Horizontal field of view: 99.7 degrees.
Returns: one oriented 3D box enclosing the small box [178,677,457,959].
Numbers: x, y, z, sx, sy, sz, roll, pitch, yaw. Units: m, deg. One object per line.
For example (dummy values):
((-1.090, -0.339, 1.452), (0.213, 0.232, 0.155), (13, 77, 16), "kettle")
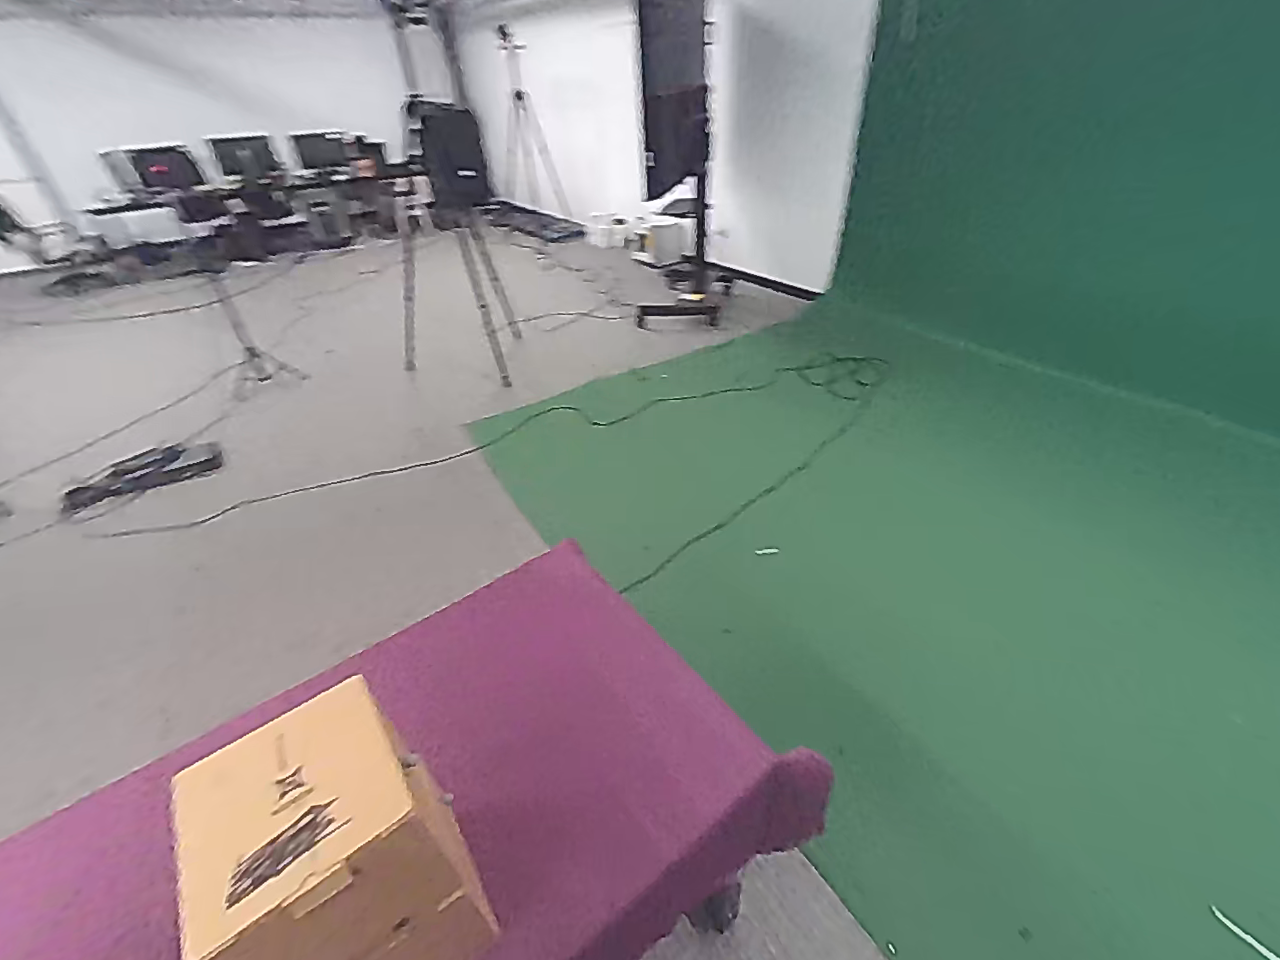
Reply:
((-0.299, 0.339, 0.520), (0.168, 0.176, 0.179), (-27, 41, -28), "small box")
